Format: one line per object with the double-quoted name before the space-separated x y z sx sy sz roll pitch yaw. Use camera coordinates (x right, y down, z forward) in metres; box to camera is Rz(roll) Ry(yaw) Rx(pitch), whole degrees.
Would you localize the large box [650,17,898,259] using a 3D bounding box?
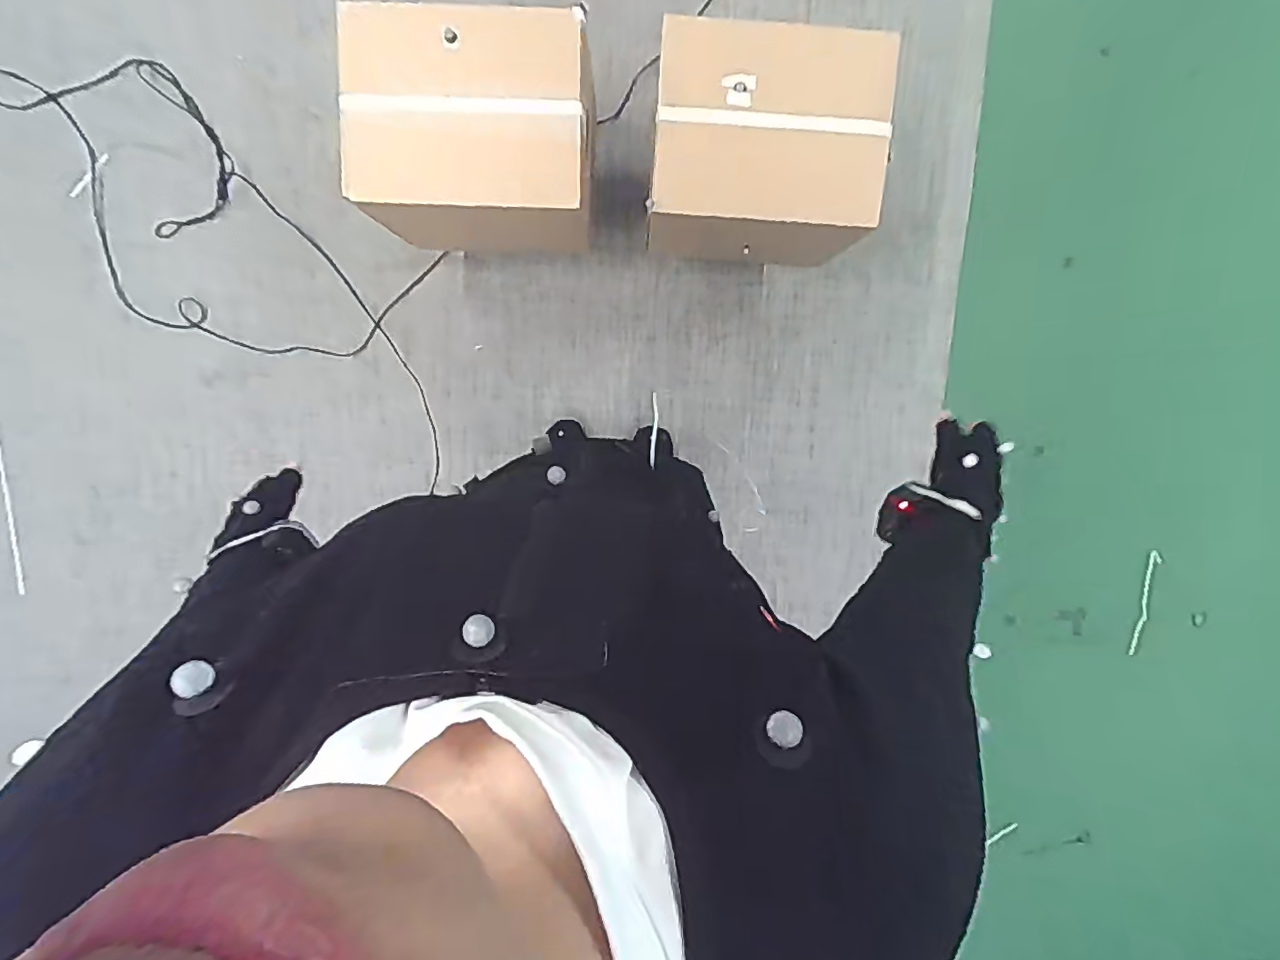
"large box" 0.234 -0.645 1.084 0.408 0.320 0.320 4 99 -1
